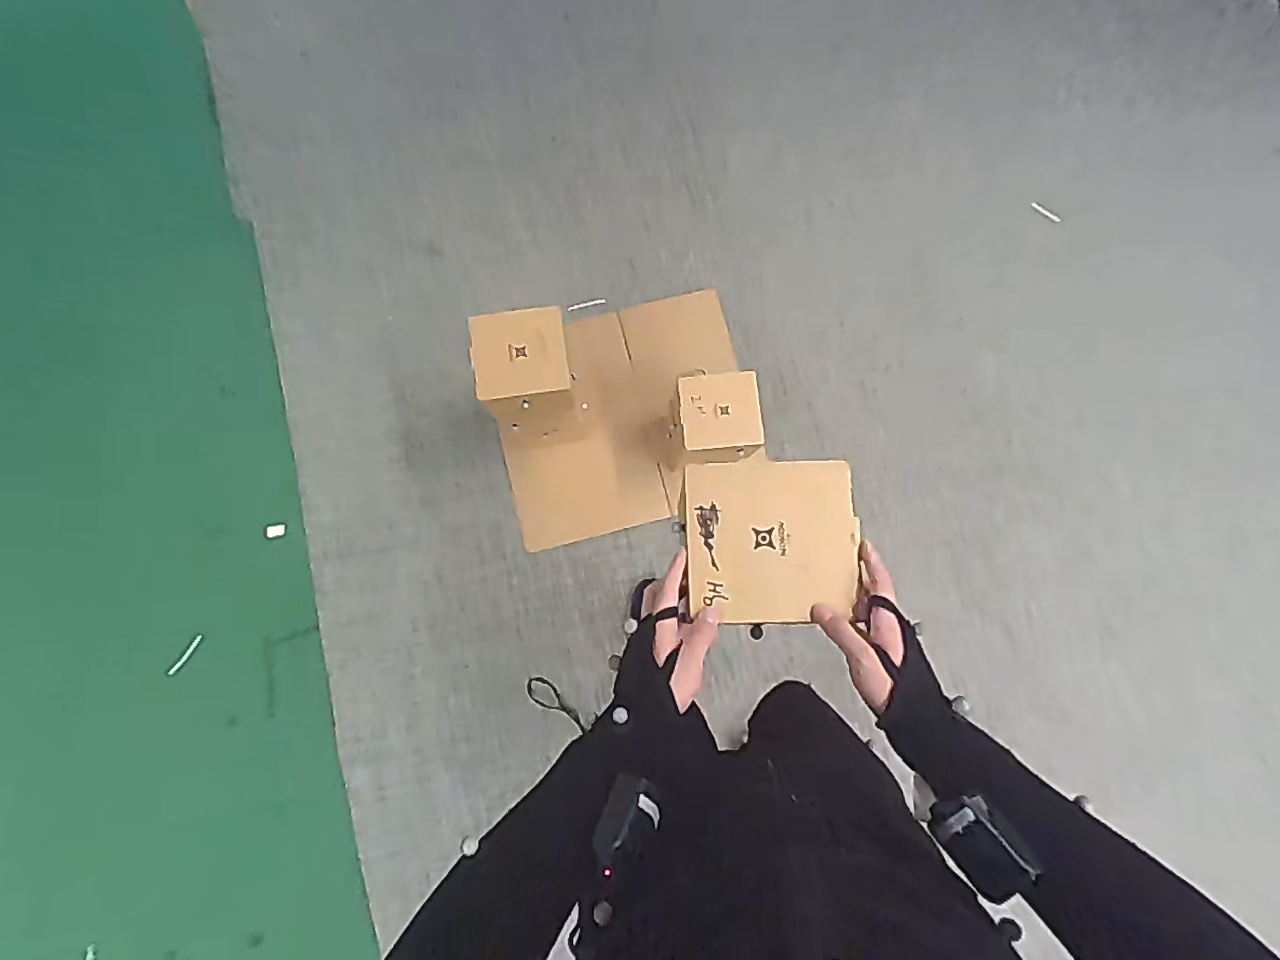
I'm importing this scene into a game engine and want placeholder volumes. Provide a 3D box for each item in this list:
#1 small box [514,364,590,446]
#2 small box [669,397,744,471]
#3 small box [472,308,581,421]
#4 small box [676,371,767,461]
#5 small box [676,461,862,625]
[{"bbox_3d":[-0.233,-0.193,1.413,0.179,0.176,0.168,-10,82,-3],"label":"small box"},{"bbox_3d":[0.177,-0.126,1.412,0.179,0.176,0.168,-9,82,-1],"label":"small box"},{"bbox_3d":[-0.221,-0.223,1.087,0.179,0.176,0.168,-8,83,-2],"label":"small box"},{"bbox_3d":[0.181,-0.141,1.247,0.179,0.176,0.168,-5,82,-1],"label":"small box"},{"bbox_3d":[0.134,0.081,0.630,0.179,0.176,0.168,0,74,1],"label":"small box"}]
